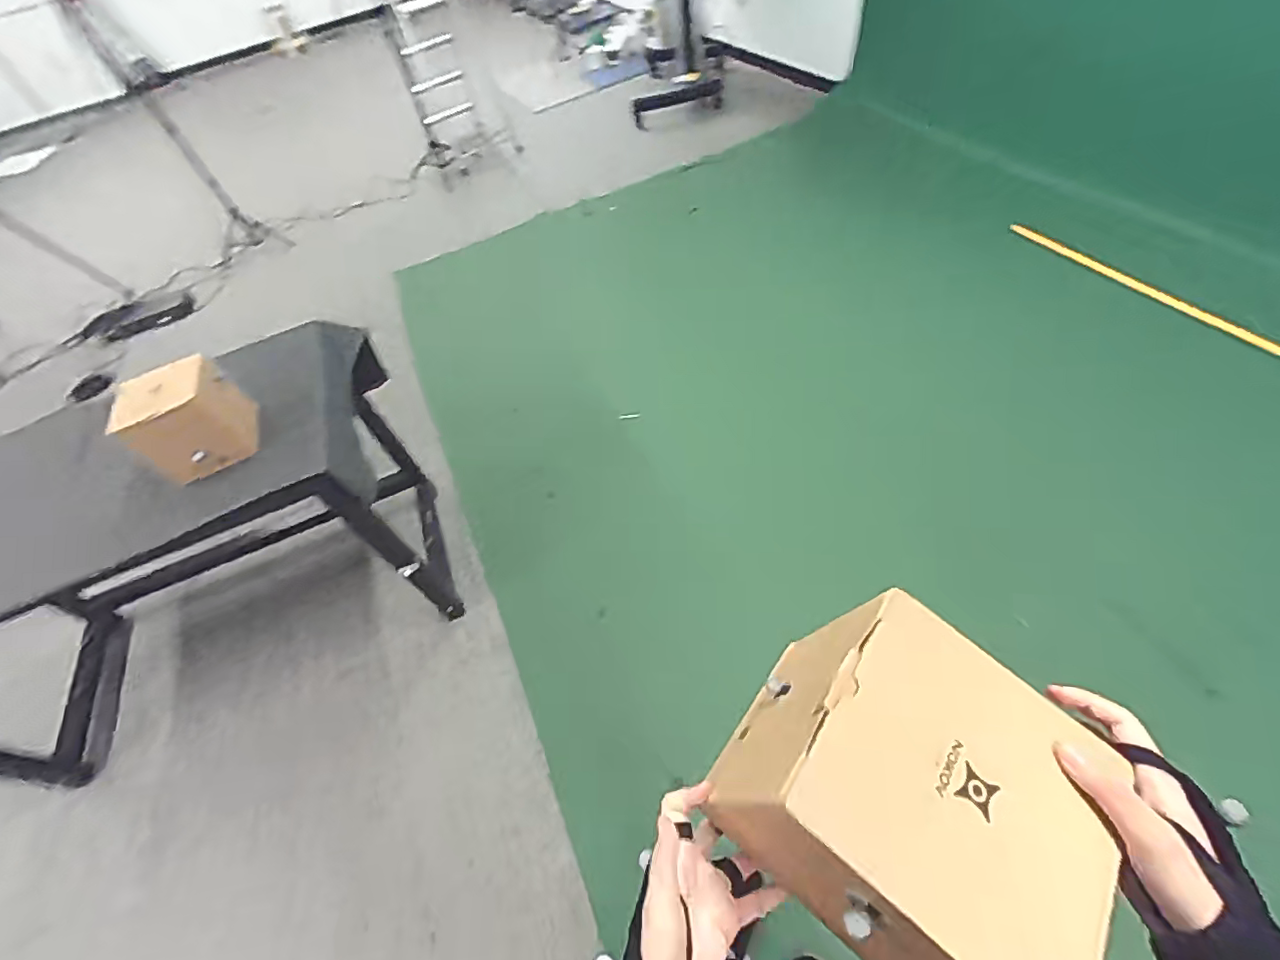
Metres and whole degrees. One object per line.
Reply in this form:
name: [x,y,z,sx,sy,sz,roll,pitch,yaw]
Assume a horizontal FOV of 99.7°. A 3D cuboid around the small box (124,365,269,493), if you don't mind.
small box: [-0.929,-0.106,1.153,0.168,0.176,0.179,-27,51,-7]
